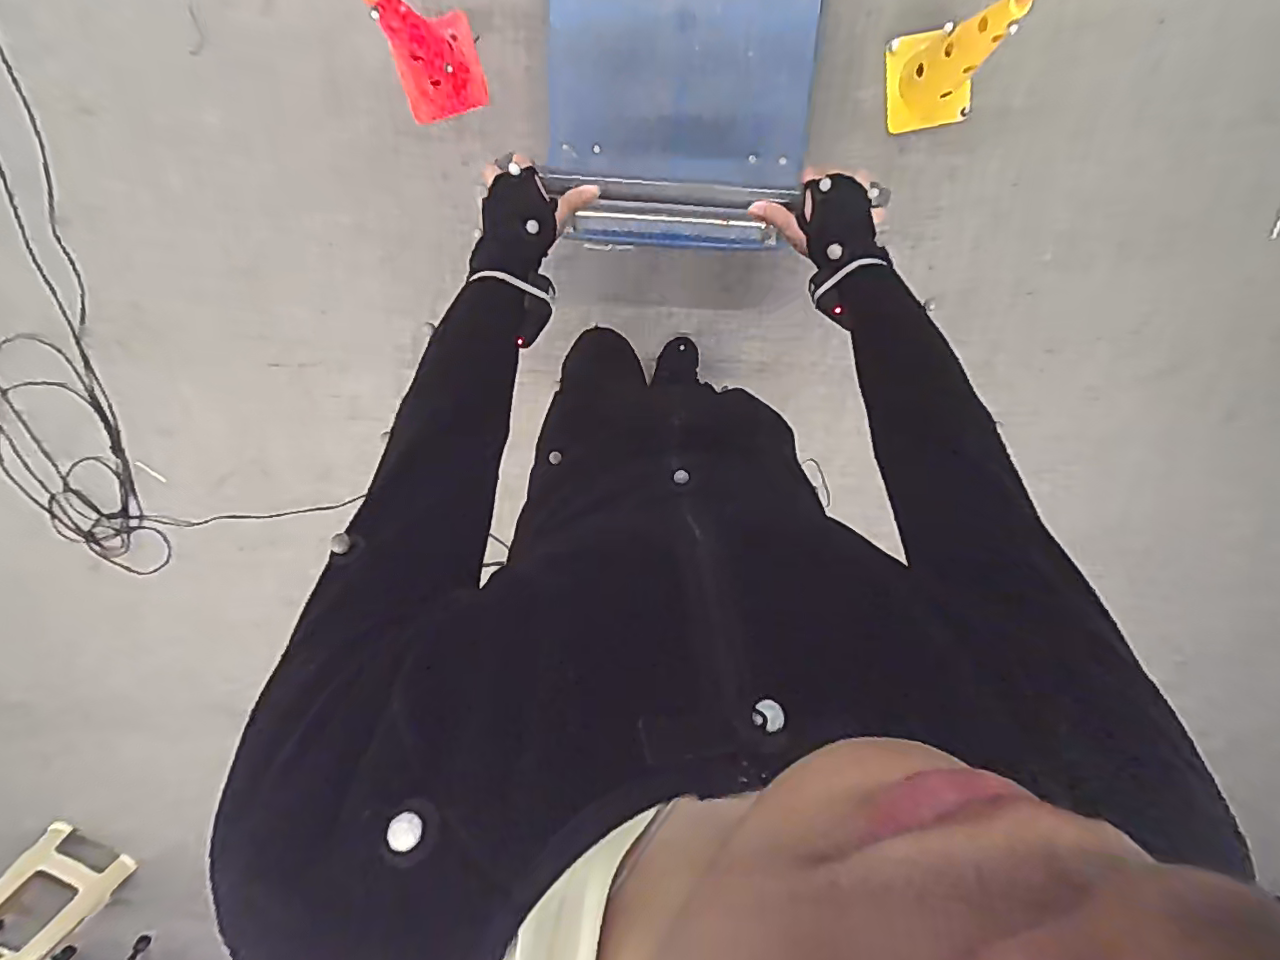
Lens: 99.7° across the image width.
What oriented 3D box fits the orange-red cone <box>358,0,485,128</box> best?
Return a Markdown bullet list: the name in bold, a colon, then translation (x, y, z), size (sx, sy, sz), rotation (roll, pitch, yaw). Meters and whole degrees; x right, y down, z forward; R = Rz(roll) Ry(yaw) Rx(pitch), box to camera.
- **orange-red cone**: translation (-0.499, -0.939, 1.160), size (0.199, 0.360, 0.198), rotation (-12, 106, 6)
